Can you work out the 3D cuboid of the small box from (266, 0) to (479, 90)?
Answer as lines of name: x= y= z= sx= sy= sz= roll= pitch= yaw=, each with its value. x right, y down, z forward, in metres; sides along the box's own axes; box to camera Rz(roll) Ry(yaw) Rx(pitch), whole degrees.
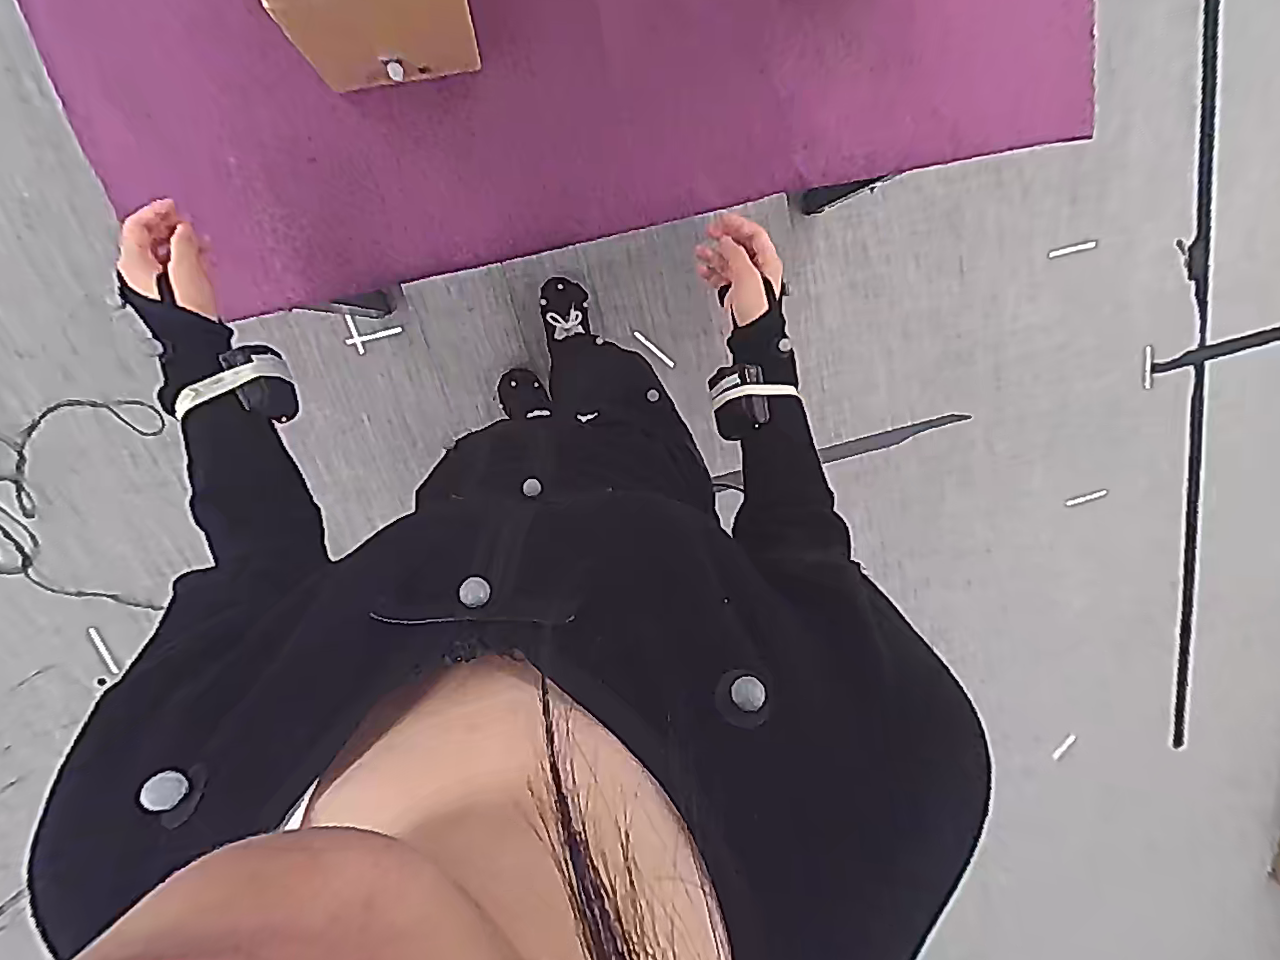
small box: x=-0.259 y=-0.505 z=0.501 sx=0.168 sy=0.176 sz=0.179 roll=-14 pitch=107 yaw=-6
